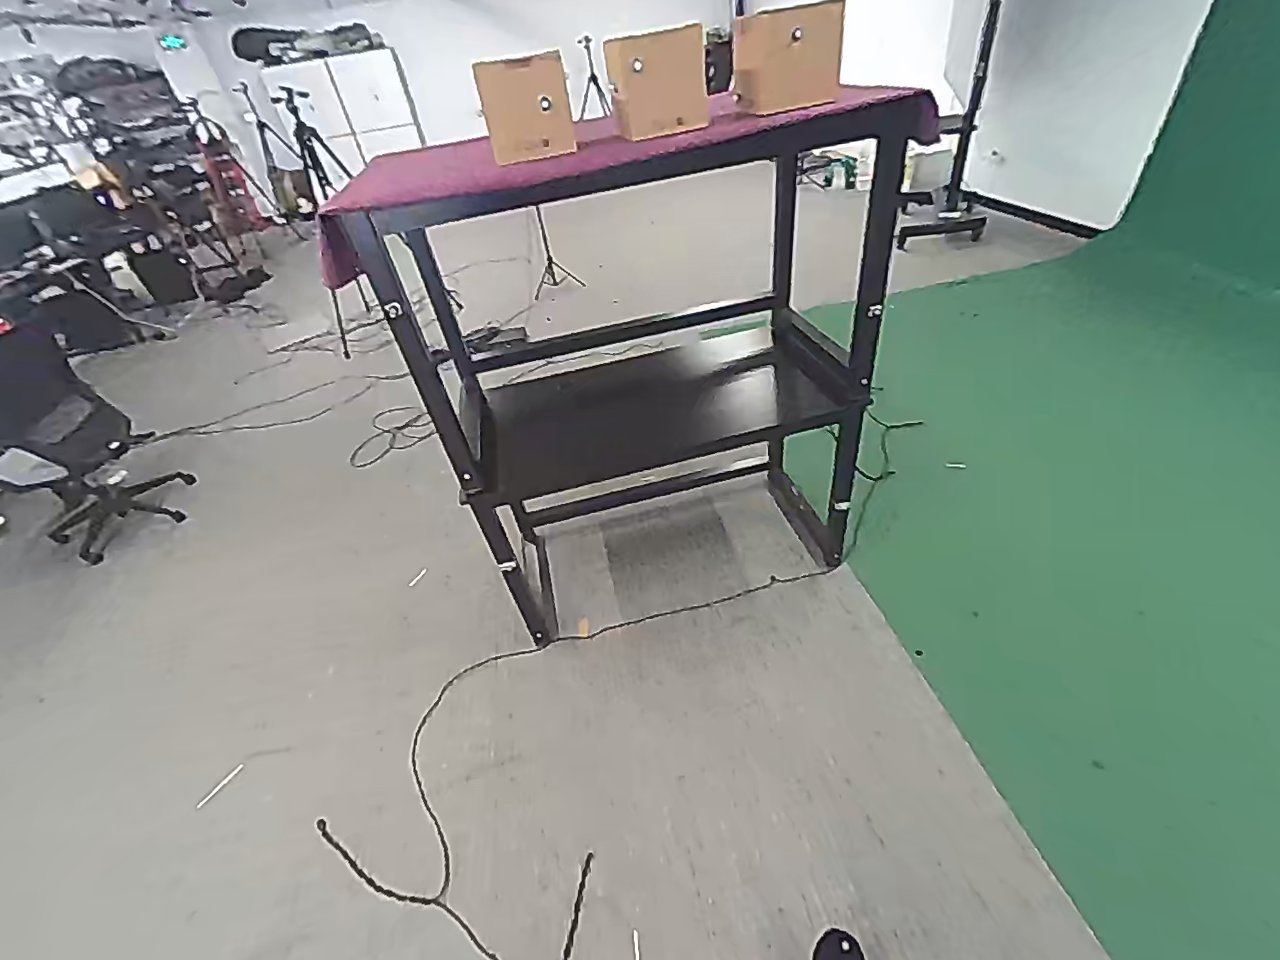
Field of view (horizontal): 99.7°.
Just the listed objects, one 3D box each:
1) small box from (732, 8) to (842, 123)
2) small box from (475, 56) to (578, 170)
[{"bbox_3d":[0.307,-0.877,1.154,0.179,0.176,0.168,-13,39,-5],"label":"small box"},{"bbox_3d":[-0.228,-0.747,1.105,0.168,0.176,0.179,-12,38,-4],"label":"small box"}]
